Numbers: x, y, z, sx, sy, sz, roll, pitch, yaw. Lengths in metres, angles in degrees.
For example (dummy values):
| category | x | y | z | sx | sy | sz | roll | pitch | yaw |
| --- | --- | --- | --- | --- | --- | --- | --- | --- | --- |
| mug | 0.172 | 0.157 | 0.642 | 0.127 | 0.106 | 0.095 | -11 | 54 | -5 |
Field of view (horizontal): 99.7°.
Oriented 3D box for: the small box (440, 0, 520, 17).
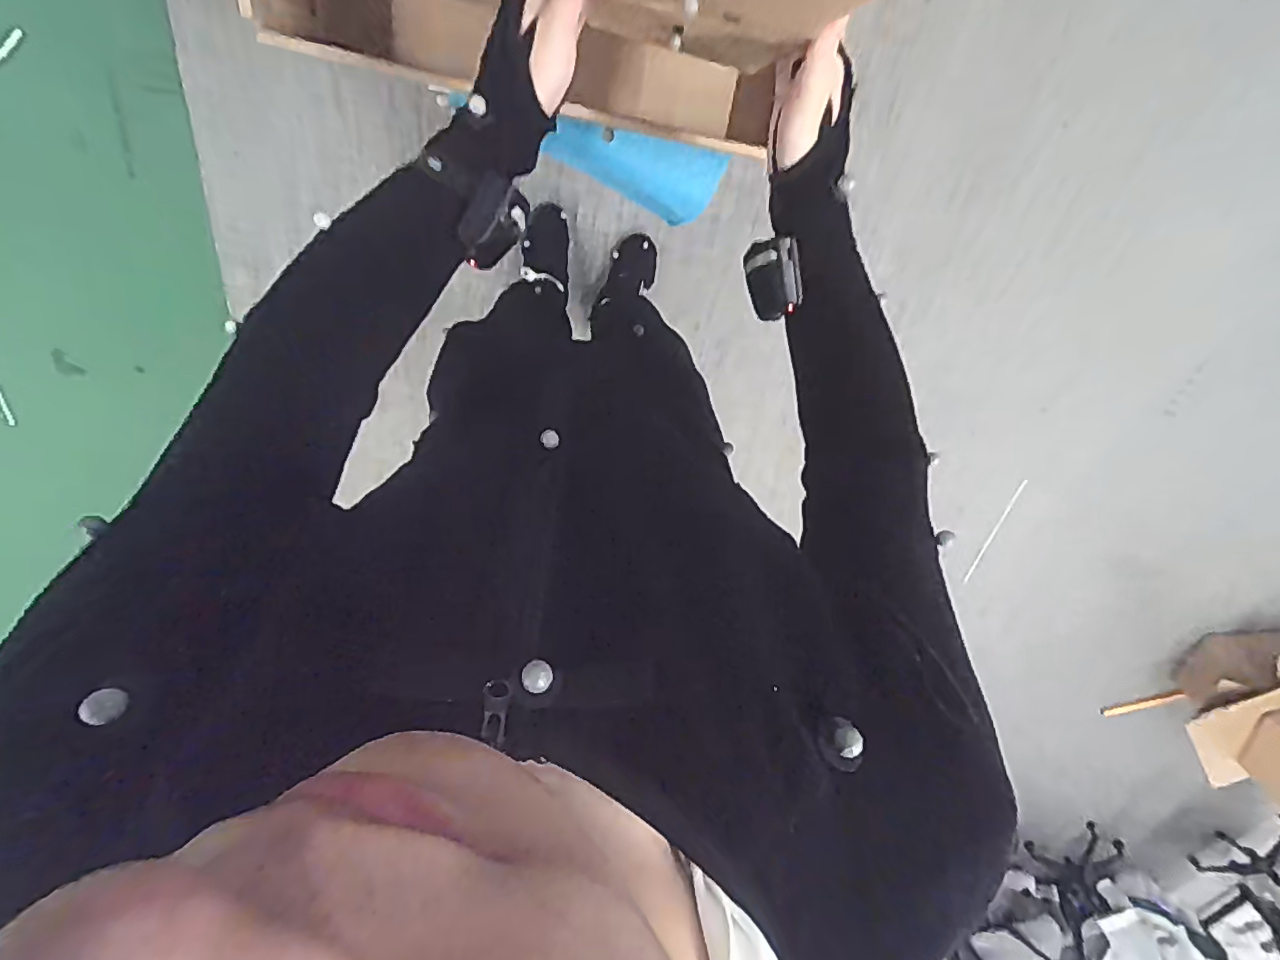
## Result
| category | x | y | z | sx | sy | sz | roll | pitch | yaw |
| --- | --- | --- | --- | --- | --- | --- | --- | --- | --- |
| small box | -0.206 | -0.614 | 0.543 | 0.168 | 0.176 | 0.179 | 8 | 118 | -8 |

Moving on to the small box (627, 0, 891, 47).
| category | x | y | z | sx | sy | sz | roll | pitch | yaw |
| --- | --- | --- | --- | --- | --- | --- | --- | --- | --- |
| small box | 0.072 | -0.380 | 0.299 | 0.168 | 0.176 | 0.179 | 8 | 119 | -10 |

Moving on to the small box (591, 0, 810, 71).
| category | x | y | z | sx | sy | sz | roll | pitch | yaw |
| --- | --- | --- | --- | --- | --- | --- | --- | --- | --- |
| small box | 0.059 | -0.459 | 0.440 | 0.179 | 0.176 | 0.168 | 9 | 118 | -10 |
